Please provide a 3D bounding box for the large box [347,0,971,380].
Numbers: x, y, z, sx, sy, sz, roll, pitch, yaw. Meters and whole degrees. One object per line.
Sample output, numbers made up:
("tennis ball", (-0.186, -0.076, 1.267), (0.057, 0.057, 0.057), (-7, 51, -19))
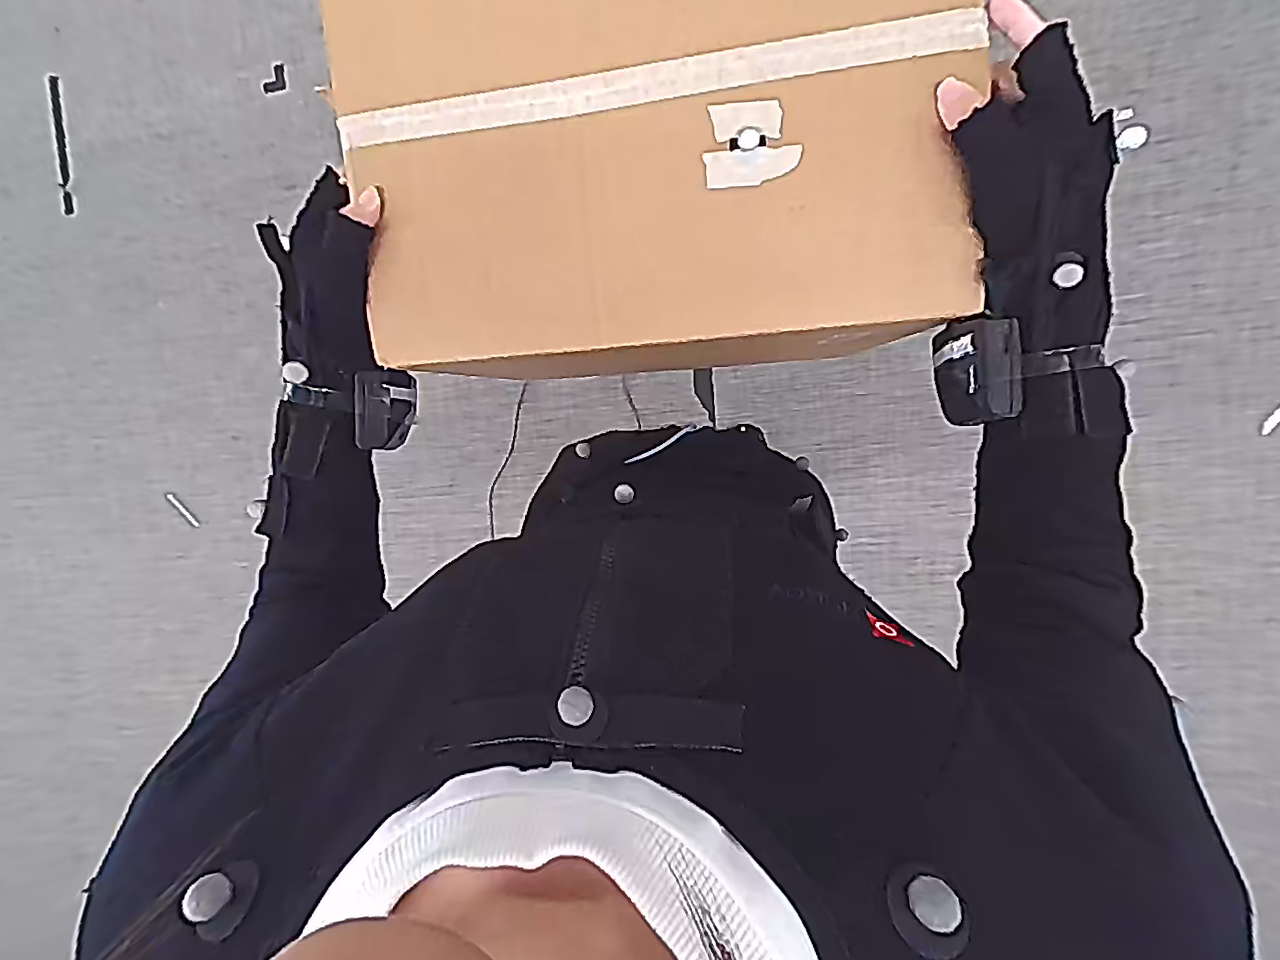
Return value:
("large box", (0.020, -0.273, 0.500), (0.408, 0.320, 0.320), (-4, 99, 8))
